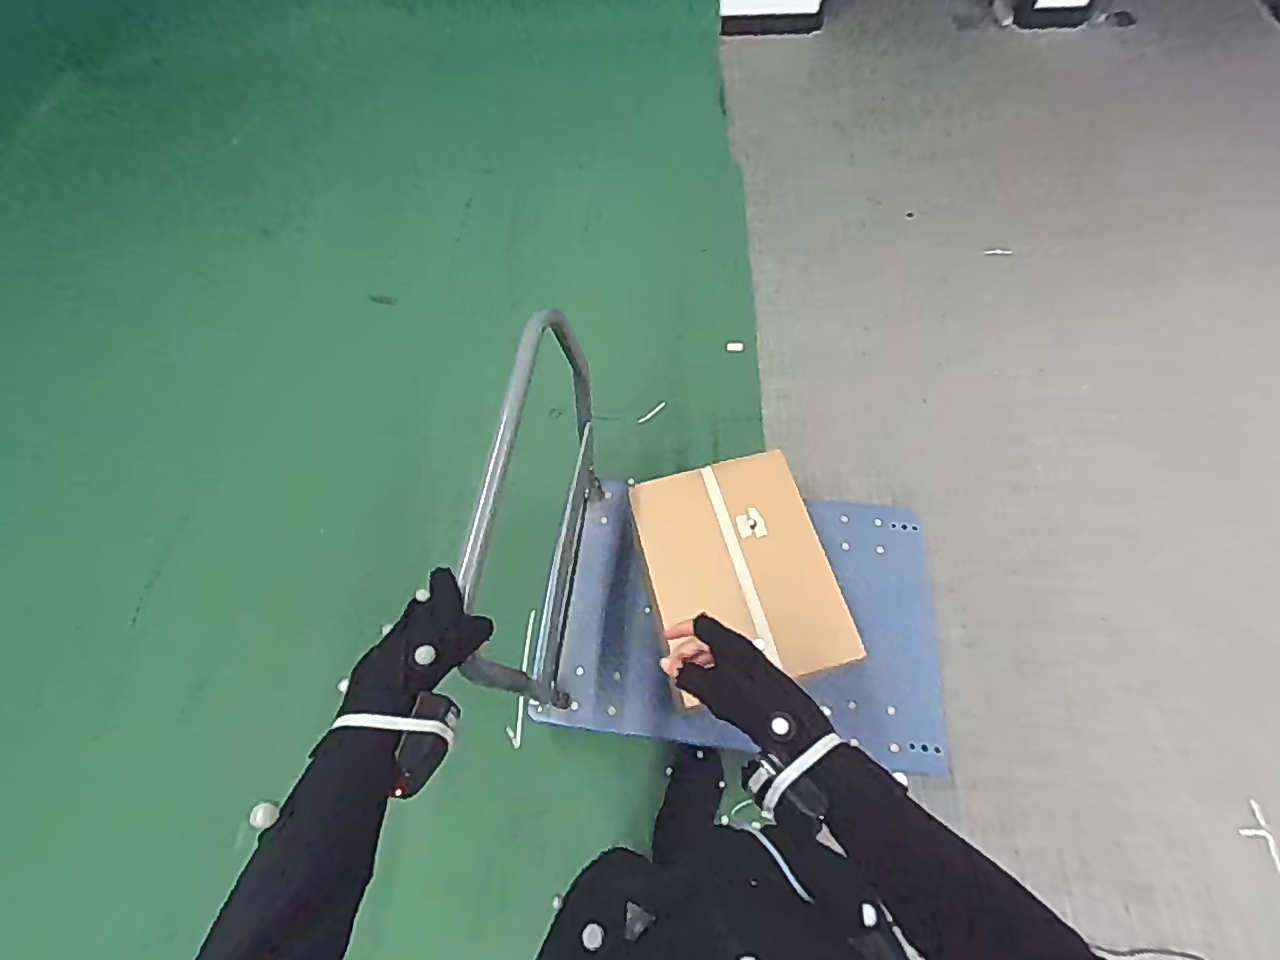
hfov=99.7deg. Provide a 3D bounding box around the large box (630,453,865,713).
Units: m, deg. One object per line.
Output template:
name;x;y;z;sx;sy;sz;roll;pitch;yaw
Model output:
large box;0.183;0.217;1.094;0.320;0.320;0.408;-13;64;-5
